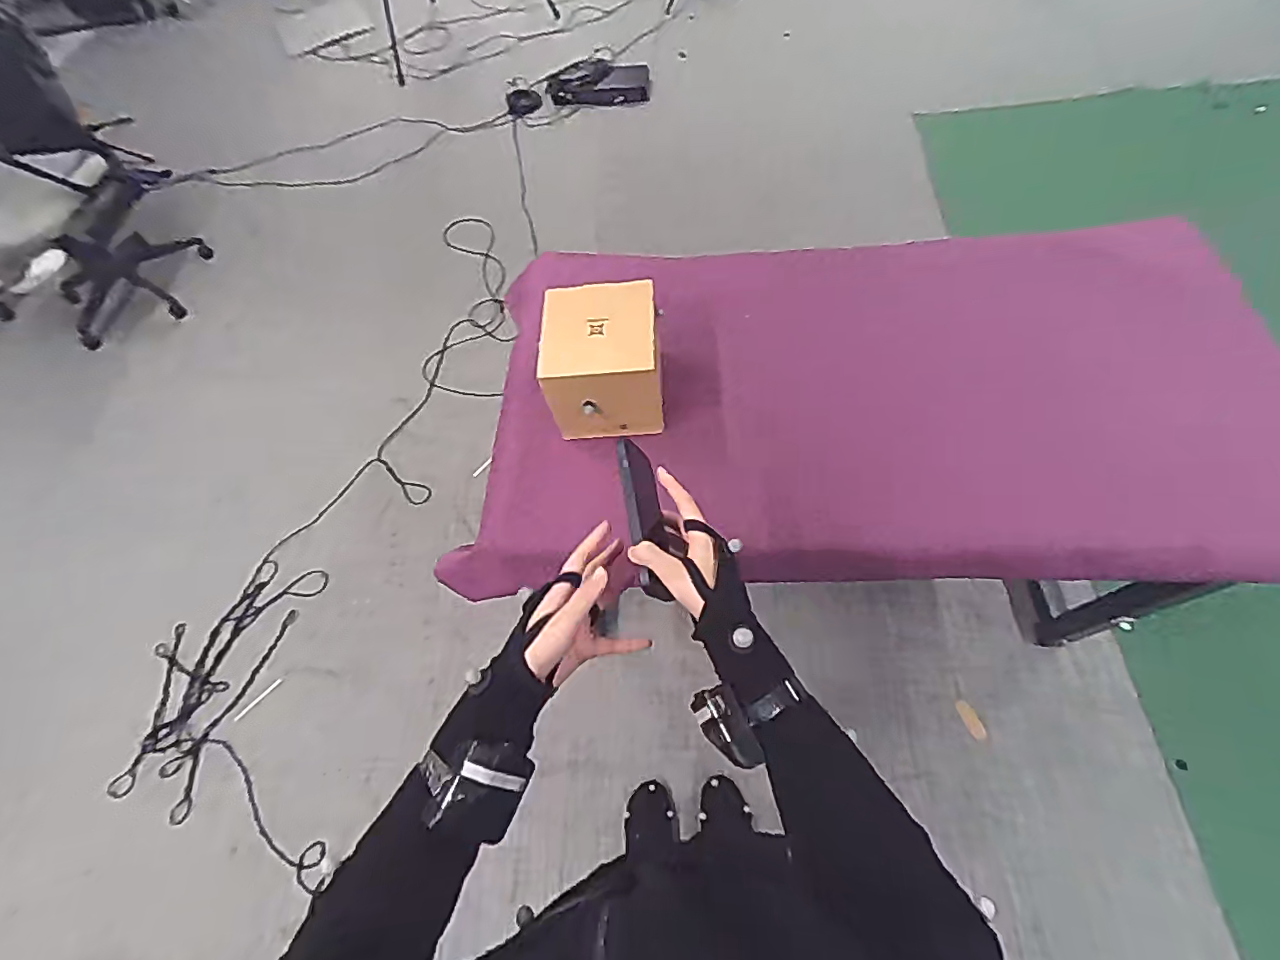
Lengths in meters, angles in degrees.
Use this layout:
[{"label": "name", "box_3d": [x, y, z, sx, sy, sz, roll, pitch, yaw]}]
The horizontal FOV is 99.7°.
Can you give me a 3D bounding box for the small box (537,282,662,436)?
[{"label": "small box", "box_3d": [-0.054, -0.180, 0.850, 0.168, 0.176, 0.179, -4, 60, 5]}]
